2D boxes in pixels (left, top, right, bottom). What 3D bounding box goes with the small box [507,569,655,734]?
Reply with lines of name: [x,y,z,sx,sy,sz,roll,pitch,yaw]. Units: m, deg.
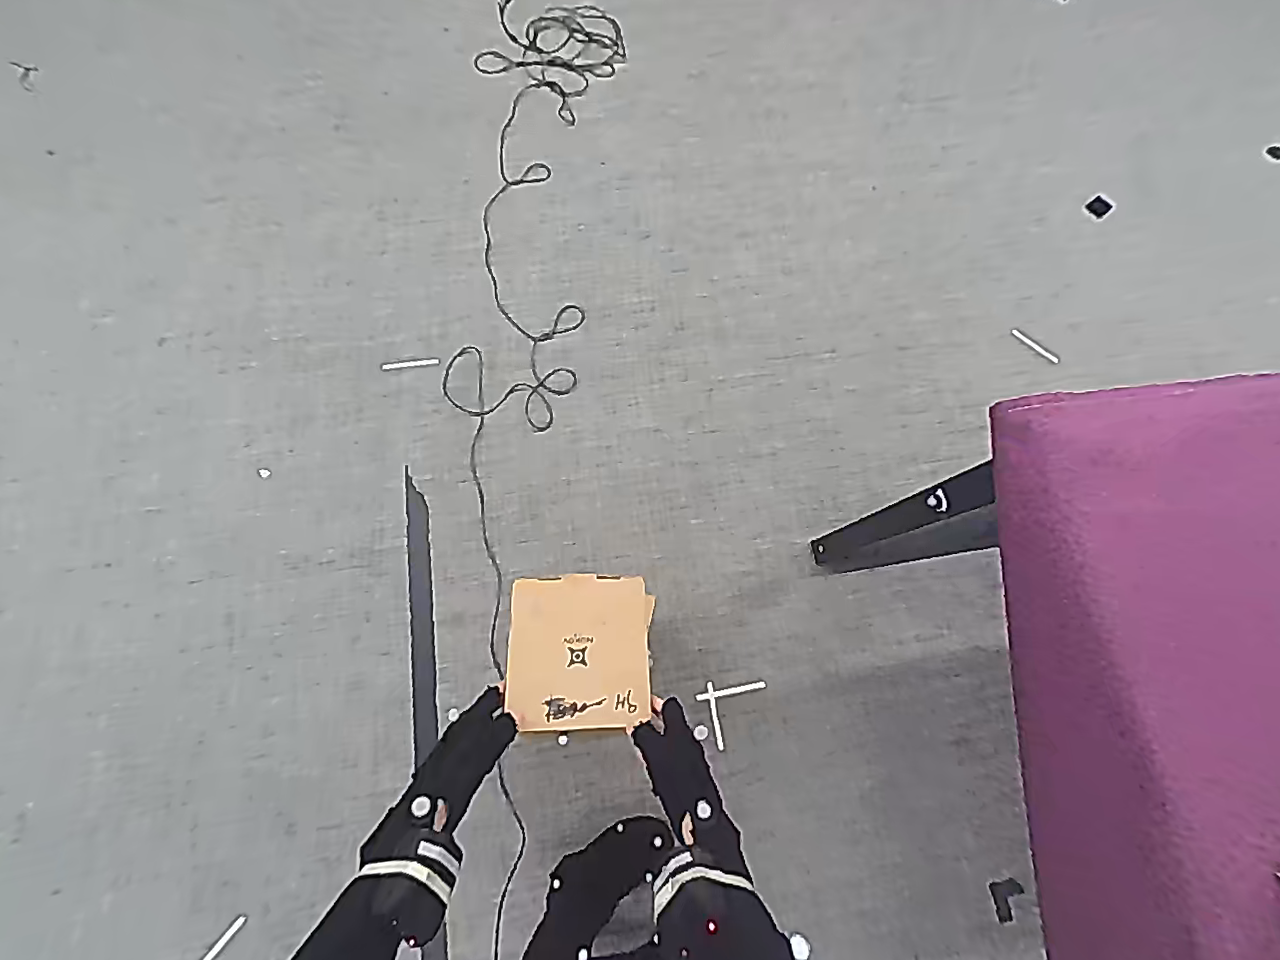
small box: [-0.073,0.227,0.703,0.168,0.176,0.179,-1,63,-4]
